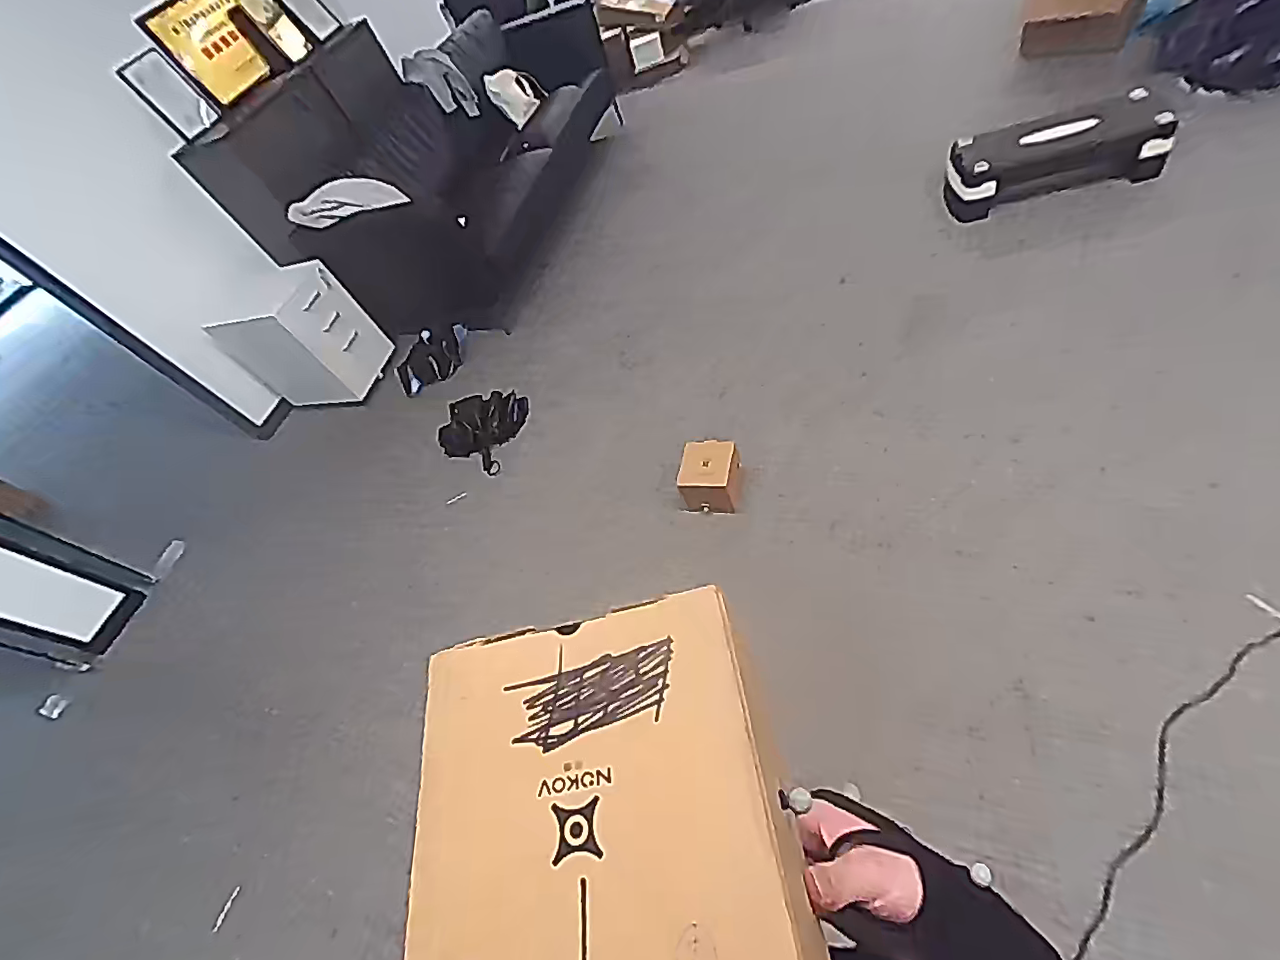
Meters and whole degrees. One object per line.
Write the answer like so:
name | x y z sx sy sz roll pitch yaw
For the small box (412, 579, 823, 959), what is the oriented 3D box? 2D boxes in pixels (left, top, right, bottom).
small box | -0.002 0.183 0.312 0.168 0.176 0.179 -16 55 11

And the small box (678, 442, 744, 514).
small box | 0.242 -0.007 1.786 0.168 0.176 0.179 0 57 25
